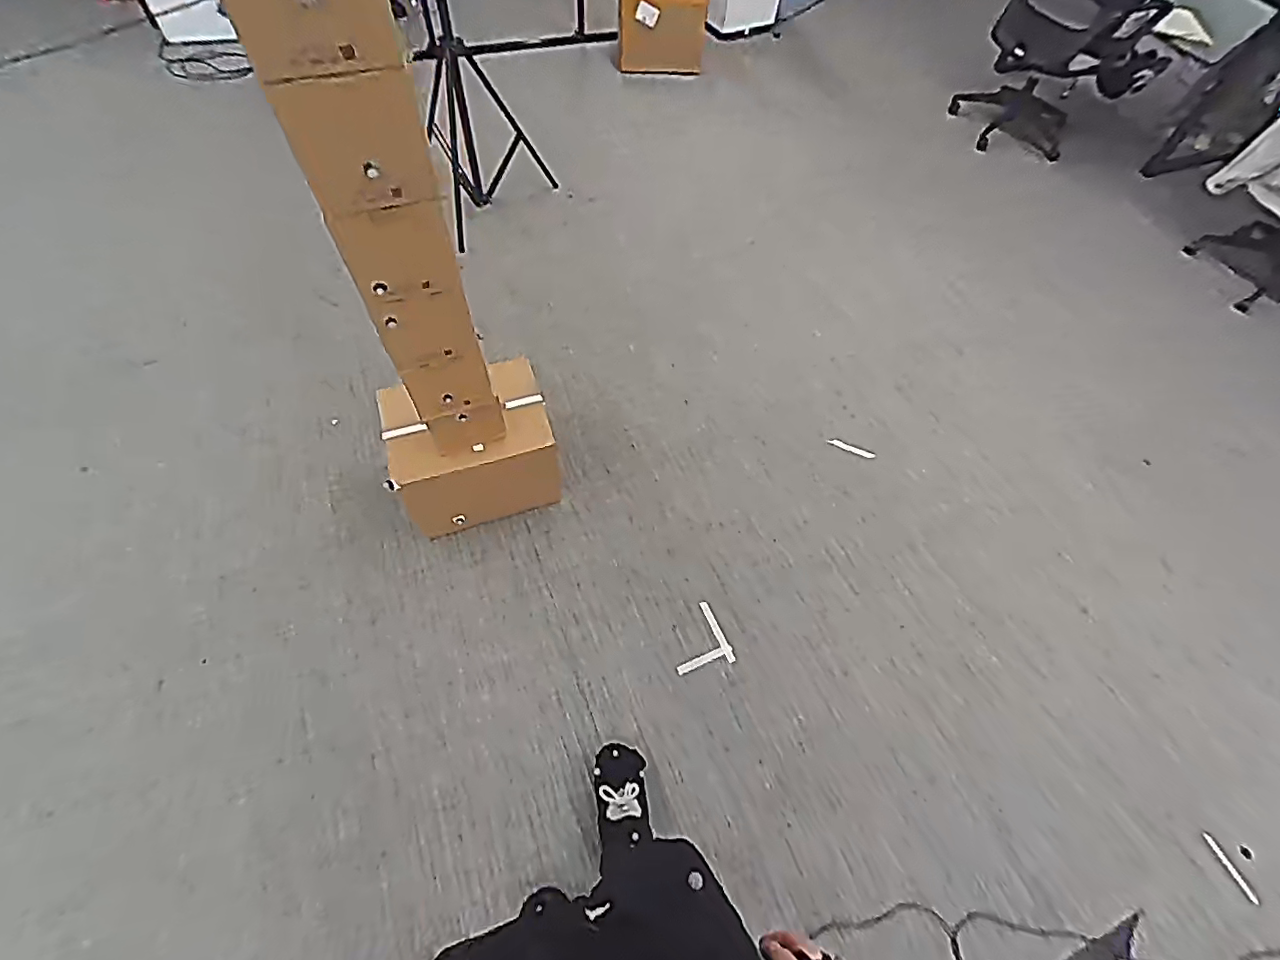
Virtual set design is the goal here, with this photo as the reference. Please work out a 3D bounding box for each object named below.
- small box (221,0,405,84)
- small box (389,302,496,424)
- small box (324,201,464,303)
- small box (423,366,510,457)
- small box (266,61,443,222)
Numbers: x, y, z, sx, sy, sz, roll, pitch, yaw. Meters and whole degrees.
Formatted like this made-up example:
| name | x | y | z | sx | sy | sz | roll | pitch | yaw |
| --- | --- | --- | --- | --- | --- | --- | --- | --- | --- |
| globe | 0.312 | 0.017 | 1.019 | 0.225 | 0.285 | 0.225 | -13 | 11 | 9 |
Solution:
| name | x | y | z | sx | sy | sz | roll | pitch | yaw |
| --- | --- | --- | --- | --- | --- | --- | --- | --- | --- |
| small box | -0.384 | -0.577 | 0.608 | 0.168 | 0.176 | 0.179 | -19 | 65 | -15 |
| small box | -0.424 | -0.253 | 1.177 | 0.168 | 0.176 | 0.179 | -18 | 64 | -14 |
| small box | -0.401 | -0.414 | 0.893 | 0.168 | 0.176 | 0.179 | -16 | 62 | -13 |
| small box | -0.433 | -0.179 | 1.322 | 0.179 | 0.176 | 0.168 | -18 | 63 | -15 |
| small box | -0.390 | -0.494 | 0.749 | 0.168 | 0.176 | 0.179 | -18 | 64 | -14 |
